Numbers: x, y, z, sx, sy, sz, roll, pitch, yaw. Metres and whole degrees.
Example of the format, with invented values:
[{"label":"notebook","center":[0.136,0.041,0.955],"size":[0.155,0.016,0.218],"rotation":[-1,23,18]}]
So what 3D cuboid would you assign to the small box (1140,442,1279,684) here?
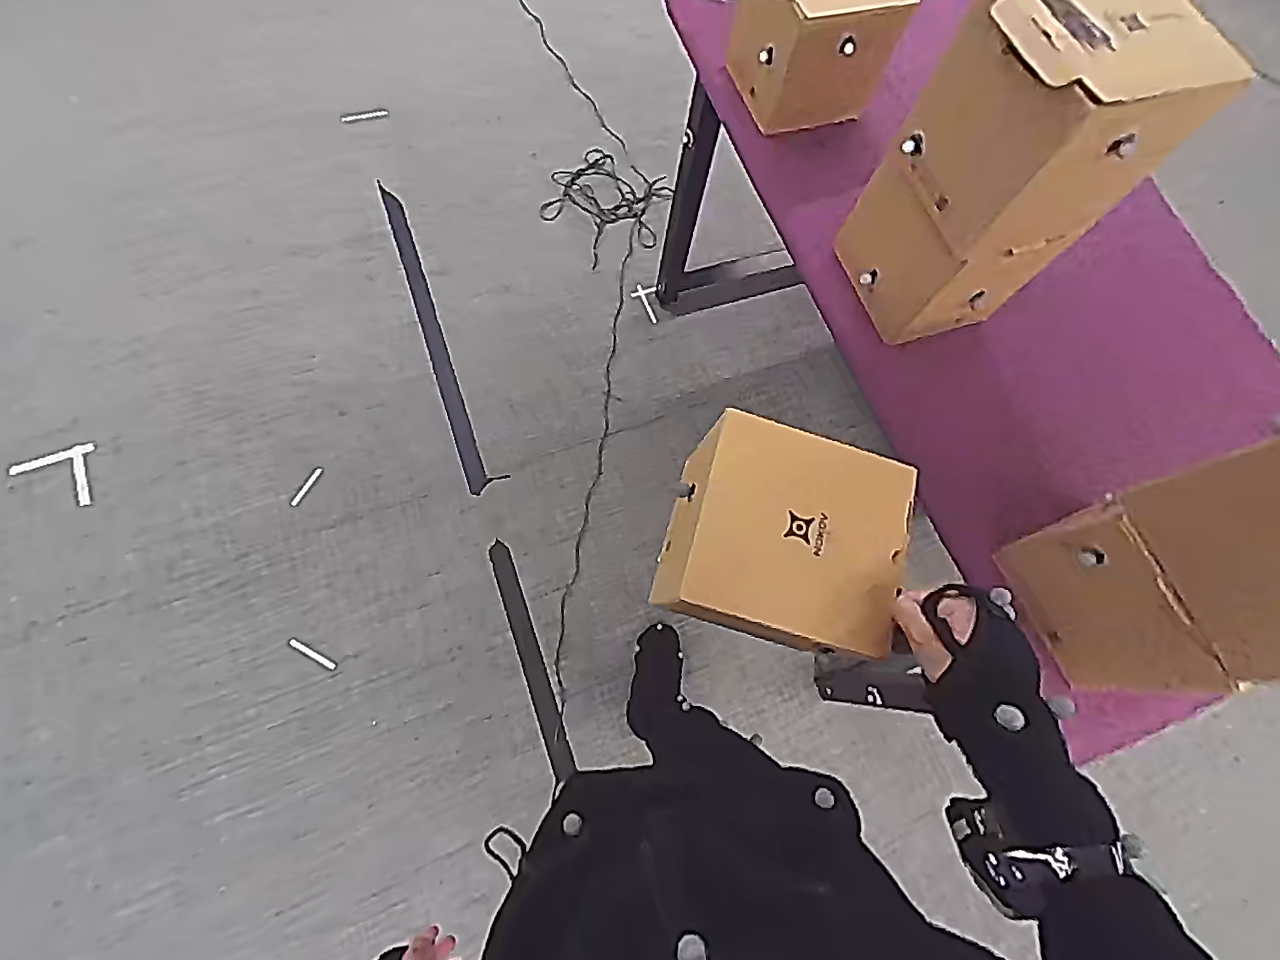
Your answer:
[{"label":"small box","center":[0.552,0.044,0.406],"size":[0.168,0.176,0.179],"rotation":[-15,73,-11]}]

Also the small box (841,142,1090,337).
[{"label":"small box","center":[0.390,-0.301,0.682],"size":[0.168,0.176,0.179],"rotation":[-17,74,-11]}]

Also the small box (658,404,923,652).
[{"label":"small box","center":[0.127,0.055,0.509],"size":[0.179,0.176,0.168],"rotation":[17,74,-4]}]

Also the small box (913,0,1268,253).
[{"label":"small box","center":[0.401,-0.349,0.524],"size":[0.179,0.176,0.168],"rotation":[-16,74,-11]}]

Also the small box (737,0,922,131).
[{"label":"small box","center":[0.255,-0.644,0.784],"size":[0.179,0.176,0.168],"rotation":[-17,76,-12]}]
